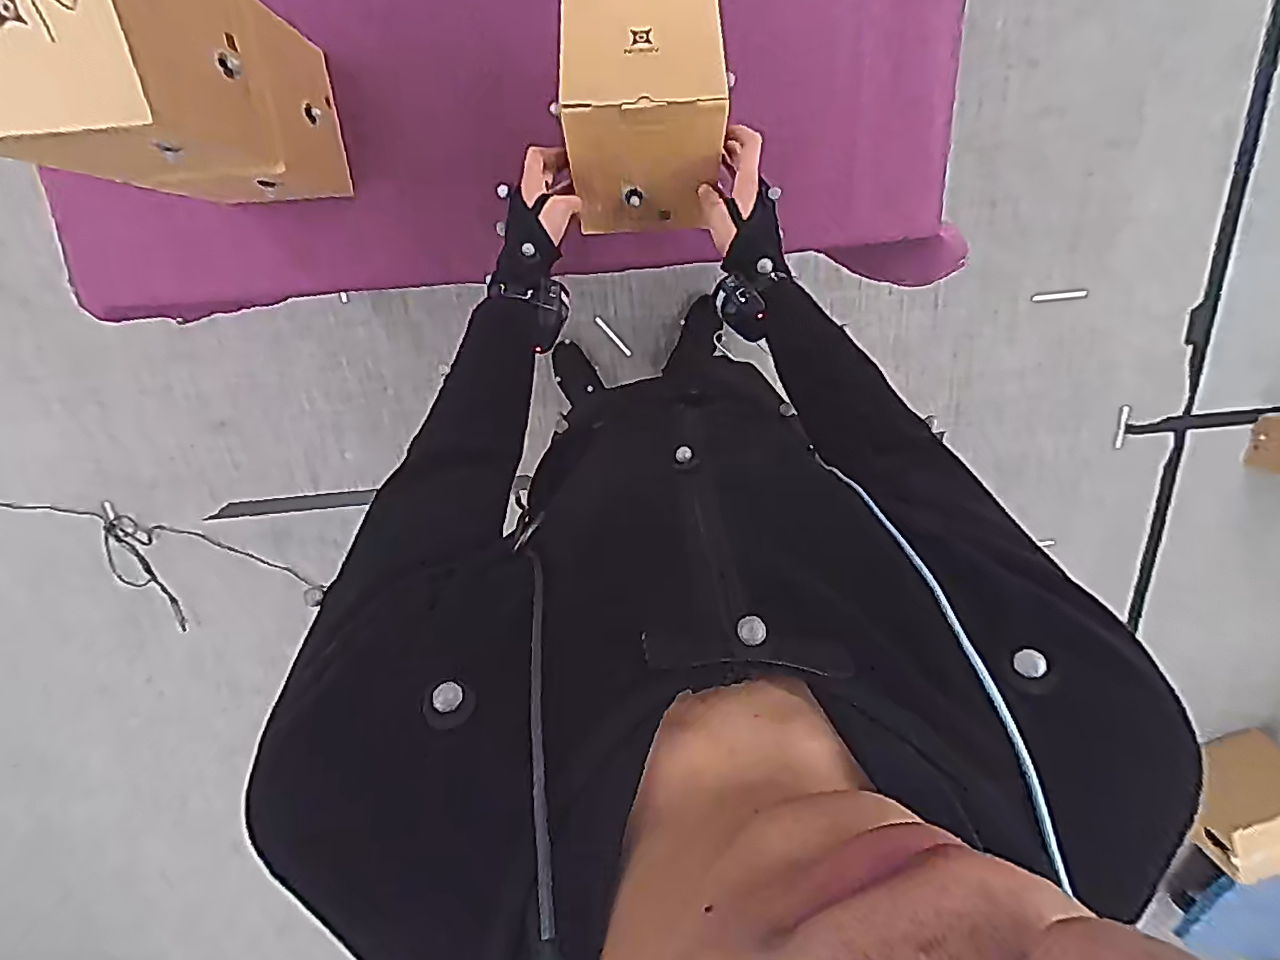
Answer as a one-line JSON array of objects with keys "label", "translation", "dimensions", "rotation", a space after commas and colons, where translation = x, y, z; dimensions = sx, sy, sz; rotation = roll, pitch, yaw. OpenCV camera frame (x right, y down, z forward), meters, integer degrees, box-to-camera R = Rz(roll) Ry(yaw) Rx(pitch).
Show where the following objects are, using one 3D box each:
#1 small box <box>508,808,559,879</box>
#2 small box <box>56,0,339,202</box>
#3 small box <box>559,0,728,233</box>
[{"label": "small box", "translation": [-0.410, 1.407, 2.105], "dimensions": [0.168, 0.176, 0.179], "rotation": [-3, 112, -1]}, {"label": "small box", "translation": [-0.478, -0.427, 0.626], "dimensions": [0.179, 0.176, 0.168], "rotation": [-4, 110, -1]}, {"label": "small box", "translation": [0.000, -0.413, 0.618], "dimensions": [0.168, 0.176, 0.179], "rotation": [-2, 74, 0]}]
